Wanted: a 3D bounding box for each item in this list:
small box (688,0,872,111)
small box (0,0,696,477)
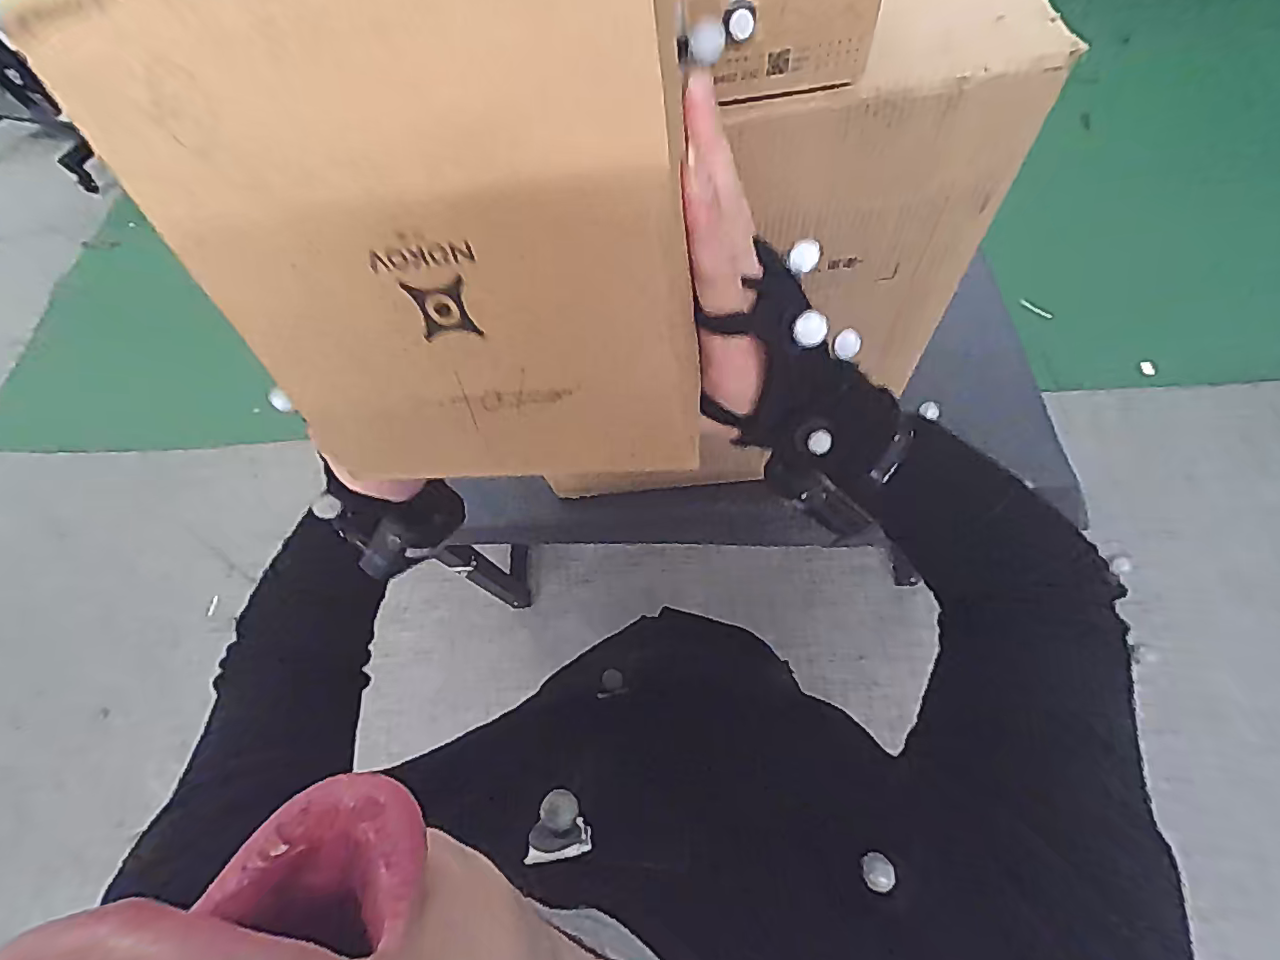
[{"bbox_3d":[0.058,-0.376,0.347,0.168,0.176,0.179,-5,67,4],"label":"small box"},{"bbox_3d":[-0.062,-0.121,0.231,0.168,0.179,0.176,-1,50,9],"label":"small box"}]
